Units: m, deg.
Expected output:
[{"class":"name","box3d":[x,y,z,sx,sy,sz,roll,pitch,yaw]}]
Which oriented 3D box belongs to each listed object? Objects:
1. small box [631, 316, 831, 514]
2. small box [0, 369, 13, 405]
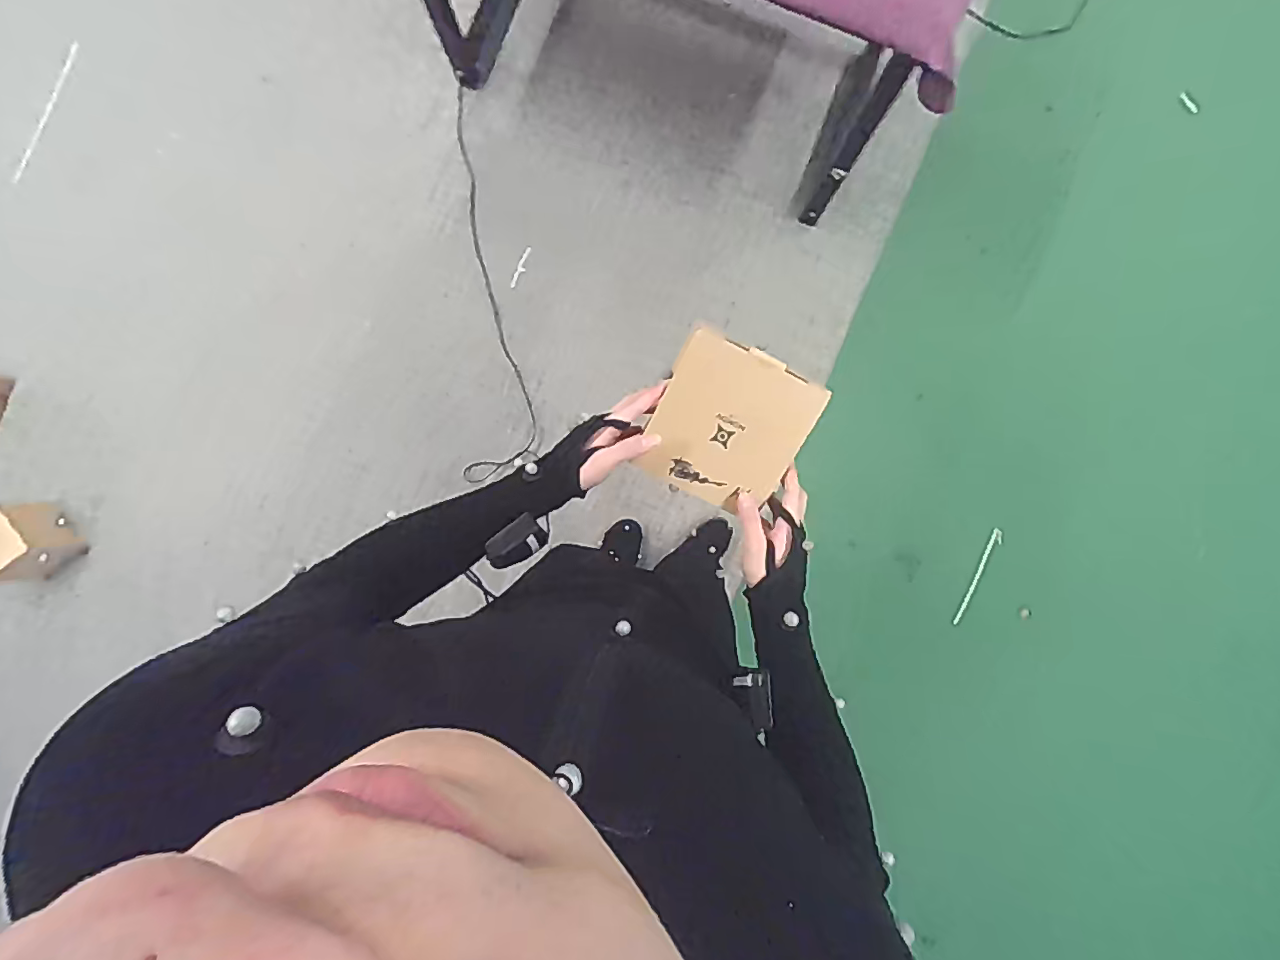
[{"class":"small box","box3d":[0.103,-0.092,0.677,0.168,0.176,0.179,27,109,-4]},{"class":"small box","box3d":[-1.992,-0.275,1.550,0.179,0.176,0.168,20,88,0]}]
